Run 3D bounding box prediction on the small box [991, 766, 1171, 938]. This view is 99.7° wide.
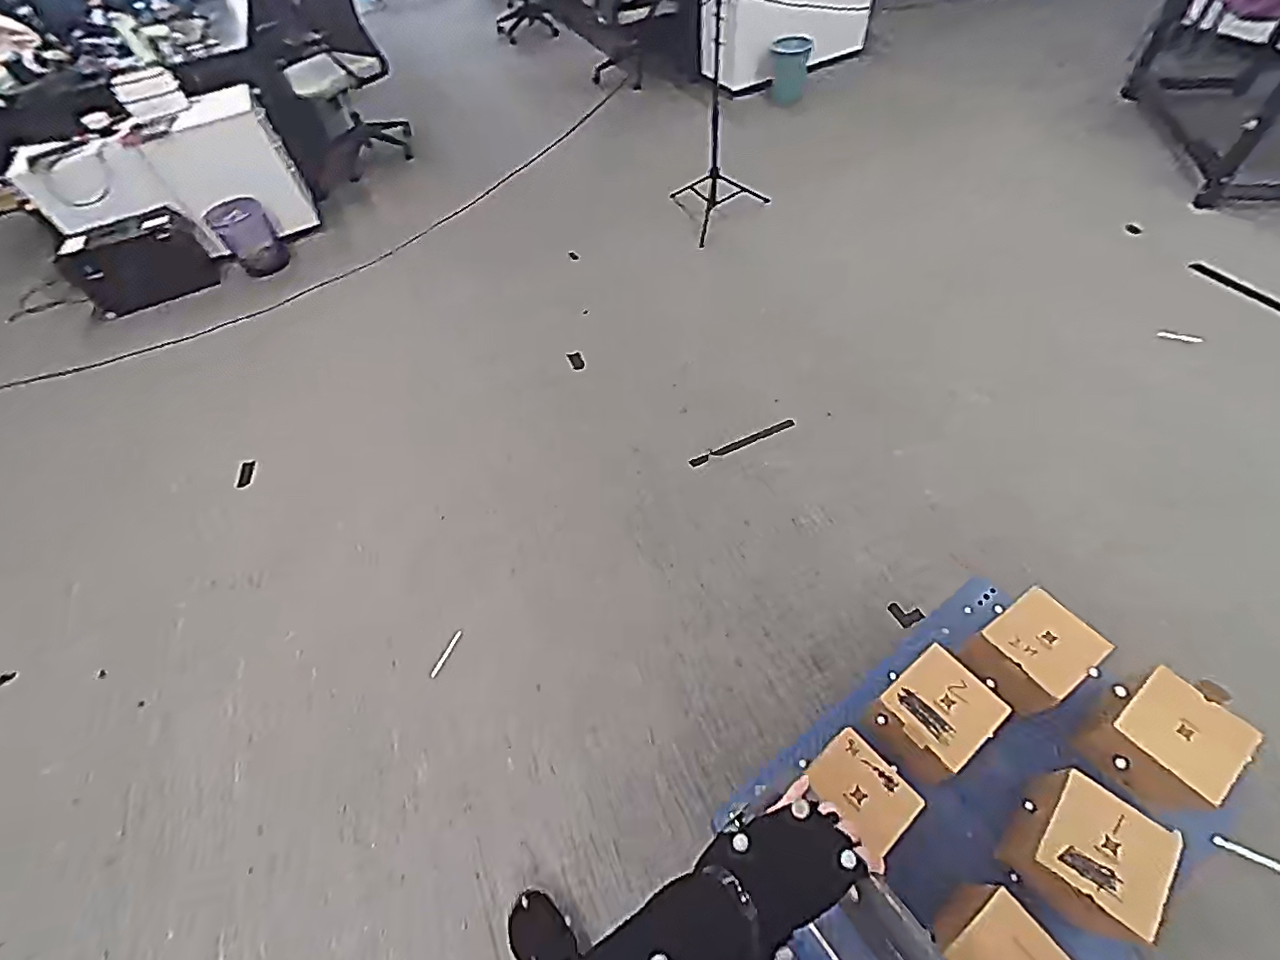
[{"bbox_3d":[0.753,0.644,0.945,0.168,0.176,0.179,34,64,26],"label":"small box"}]

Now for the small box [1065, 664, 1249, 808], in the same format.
[{"bbox_3d":[0.963,0.491,1.029,0.179,0.176,0.168,-36,58,-18],"label":"small box"}]

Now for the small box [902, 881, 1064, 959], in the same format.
[{"bbox_3d":[0.553,0.787,0.868,0.179,0.176,0.168,-32,58,-16],"label":"small box"}]

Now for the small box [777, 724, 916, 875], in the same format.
[{"bbox_3d":[0.375,0.601,1.018,0.179,0.176,0.168,-36,60,-17],"label":"small box"}]

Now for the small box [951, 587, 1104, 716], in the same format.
[{"bbox_3d":[0.798,0.363,1.136,0.179,0.176,0.168,-32,57,-14],"label":"small box"}]
